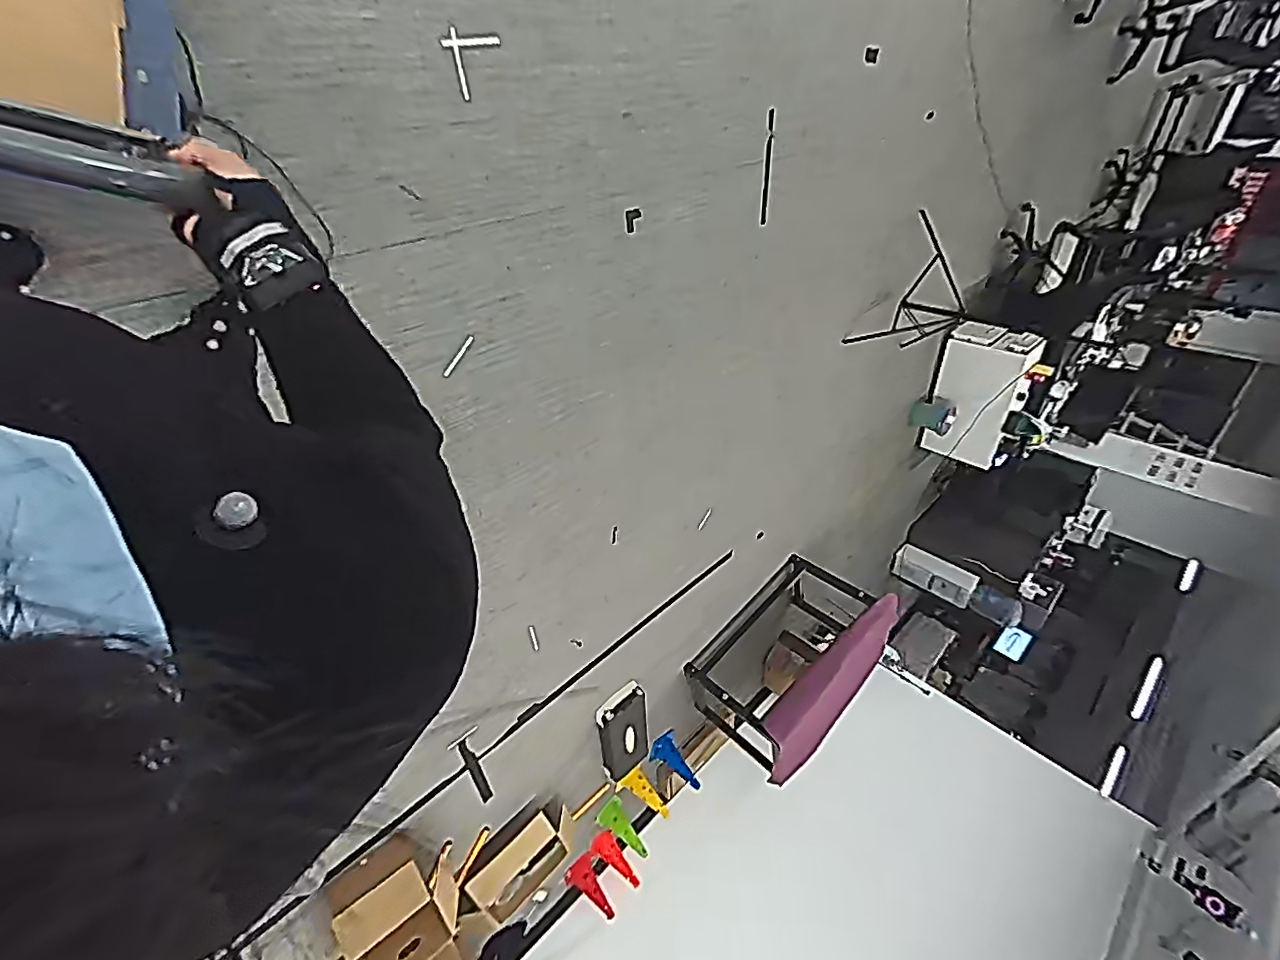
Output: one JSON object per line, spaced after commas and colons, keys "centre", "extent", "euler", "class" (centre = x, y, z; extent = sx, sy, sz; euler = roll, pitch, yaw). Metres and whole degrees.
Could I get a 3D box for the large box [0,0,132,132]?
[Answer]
{"centre": [-0.836, -0.606, 0.564], "extent": [0.408, 0.320, 0.320], "euler": [-8, 119, -46], "class": "large box"}
